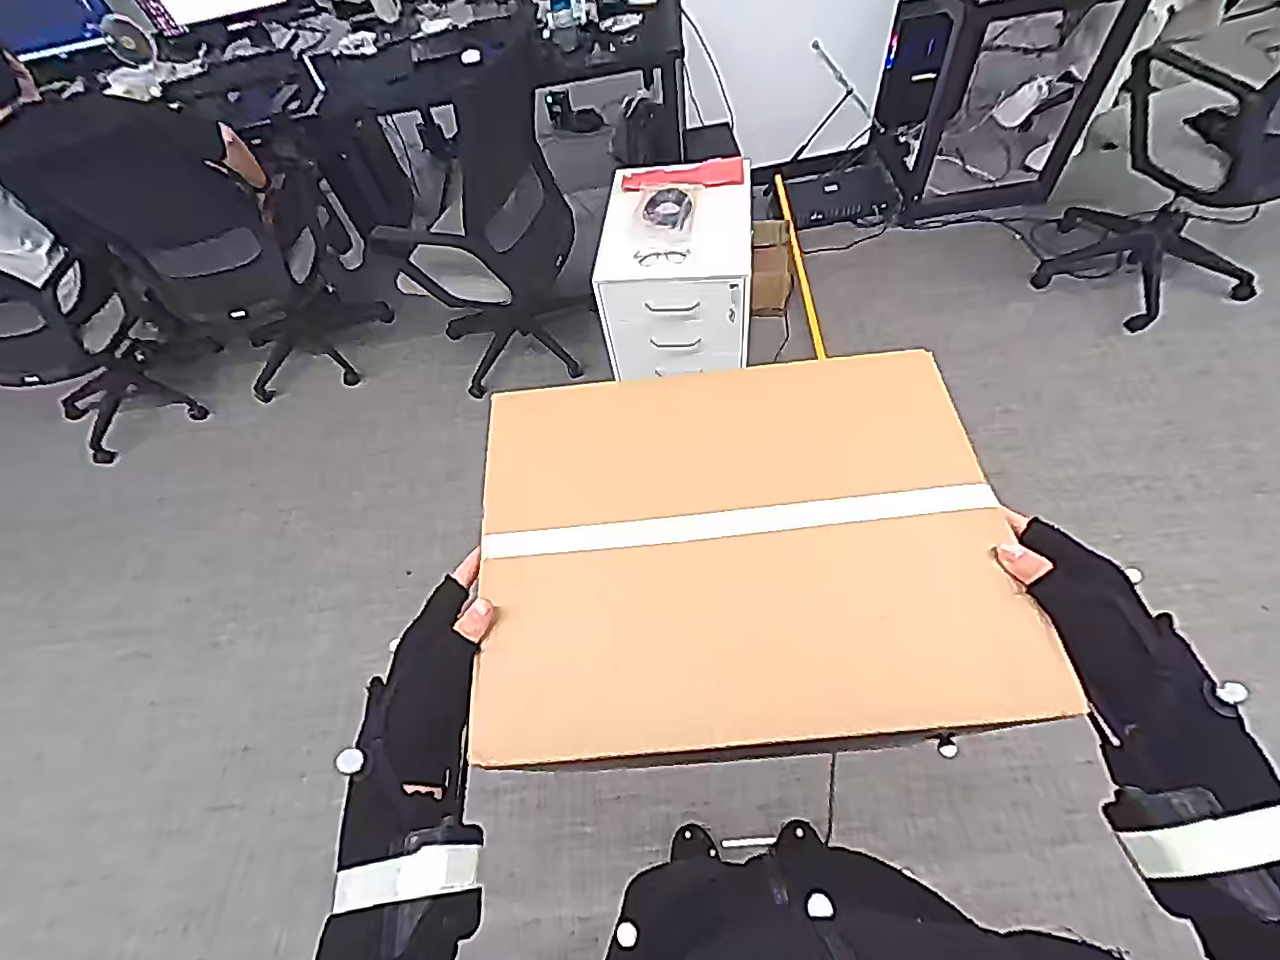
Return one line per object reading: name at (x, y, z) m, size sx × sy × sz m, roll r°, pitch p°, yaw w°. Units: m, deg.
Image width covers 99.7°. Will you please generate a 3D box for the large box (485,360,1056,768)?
large box at (0.088, 0.112, 0.571) m, size 0.408 × 0.320 × 0.320 m, roll -6°, pitch 61°, yaw 2°
